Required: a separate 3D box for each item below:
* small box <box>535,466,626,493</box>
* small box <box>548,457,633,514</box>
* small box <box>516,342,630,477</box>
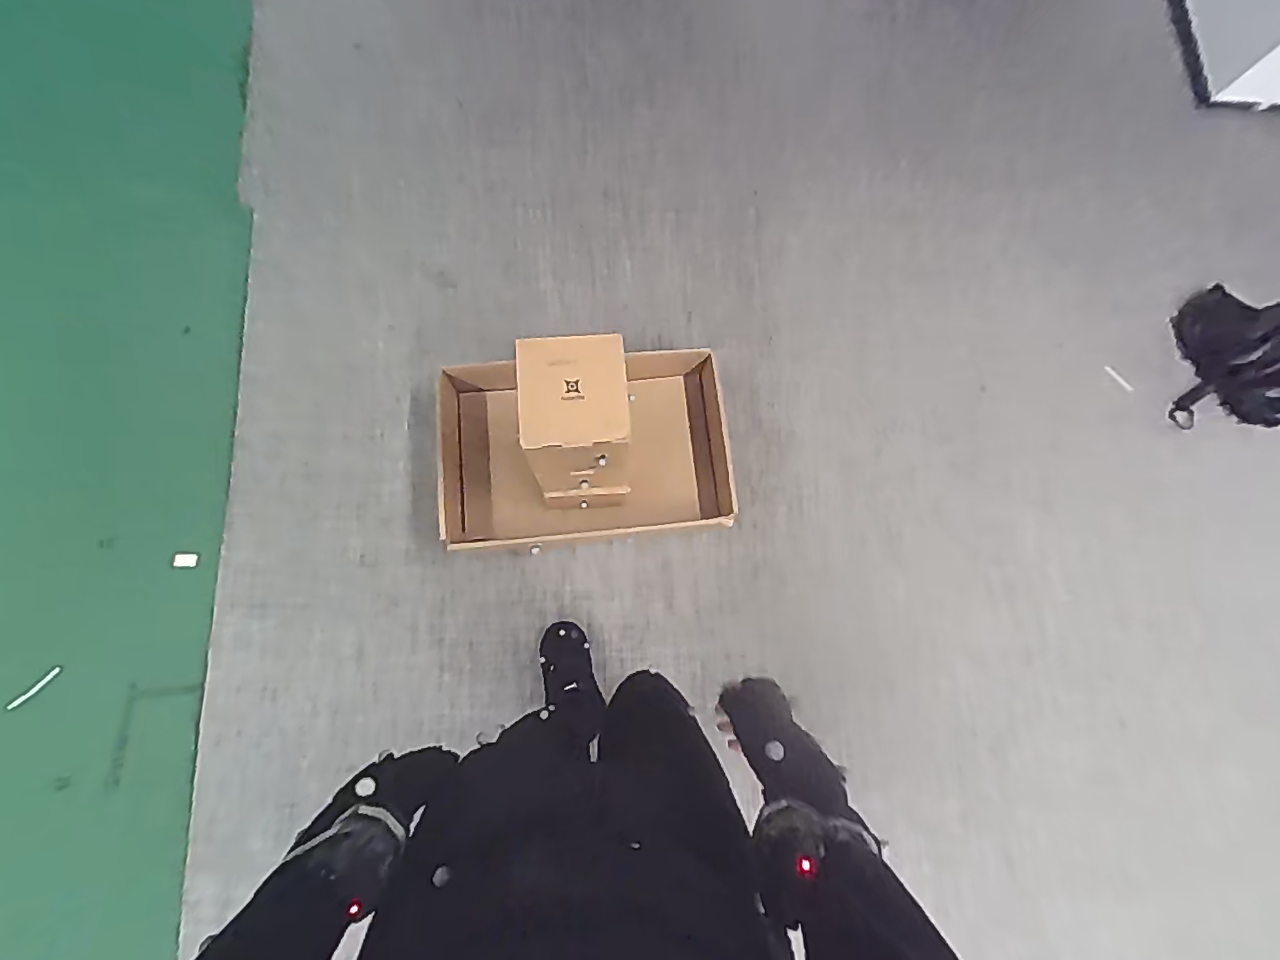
[{"bbox_3d":[-0.115,-0.073,1.049,0.168,0.176,0.179,-5,78,-5],"label":"small box"},{"bbox_3d":[-0.117,-0.021,1.204,0.179,0.176,0.168,-6,78,-6],"label":"small box"},{"bbox_3d":[-0.107,-0.106,0.890,0.168,0.176,0.179,-5,77,-6],"label":"small box"}]
